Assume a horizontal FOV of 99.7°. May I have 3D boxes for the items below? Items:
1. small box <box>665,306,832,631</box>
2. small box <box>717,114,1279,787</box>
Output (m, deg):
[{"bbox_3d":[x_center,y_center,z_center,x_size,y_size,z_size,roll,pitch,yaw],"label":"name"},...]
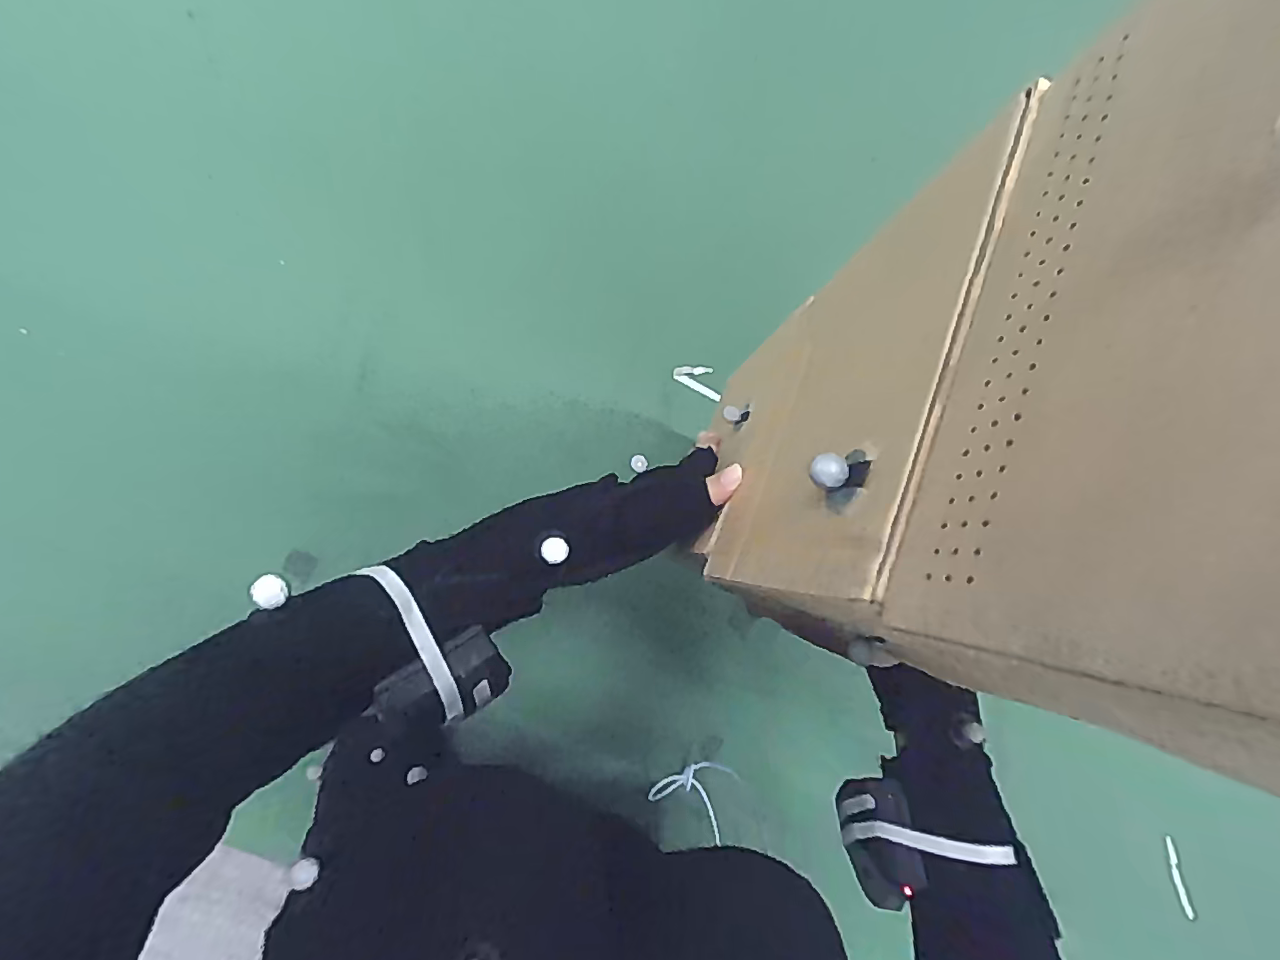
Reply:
[{"bbox_3d":[0.132,0.009,0.411,0.168,0.176,0.179,25,81,-5],"label":"small box"},{"bbox_3d":[0.153,-0.003,0.250,0.168,0.176,0.179,22,81,-5],"label":"small box"}]
